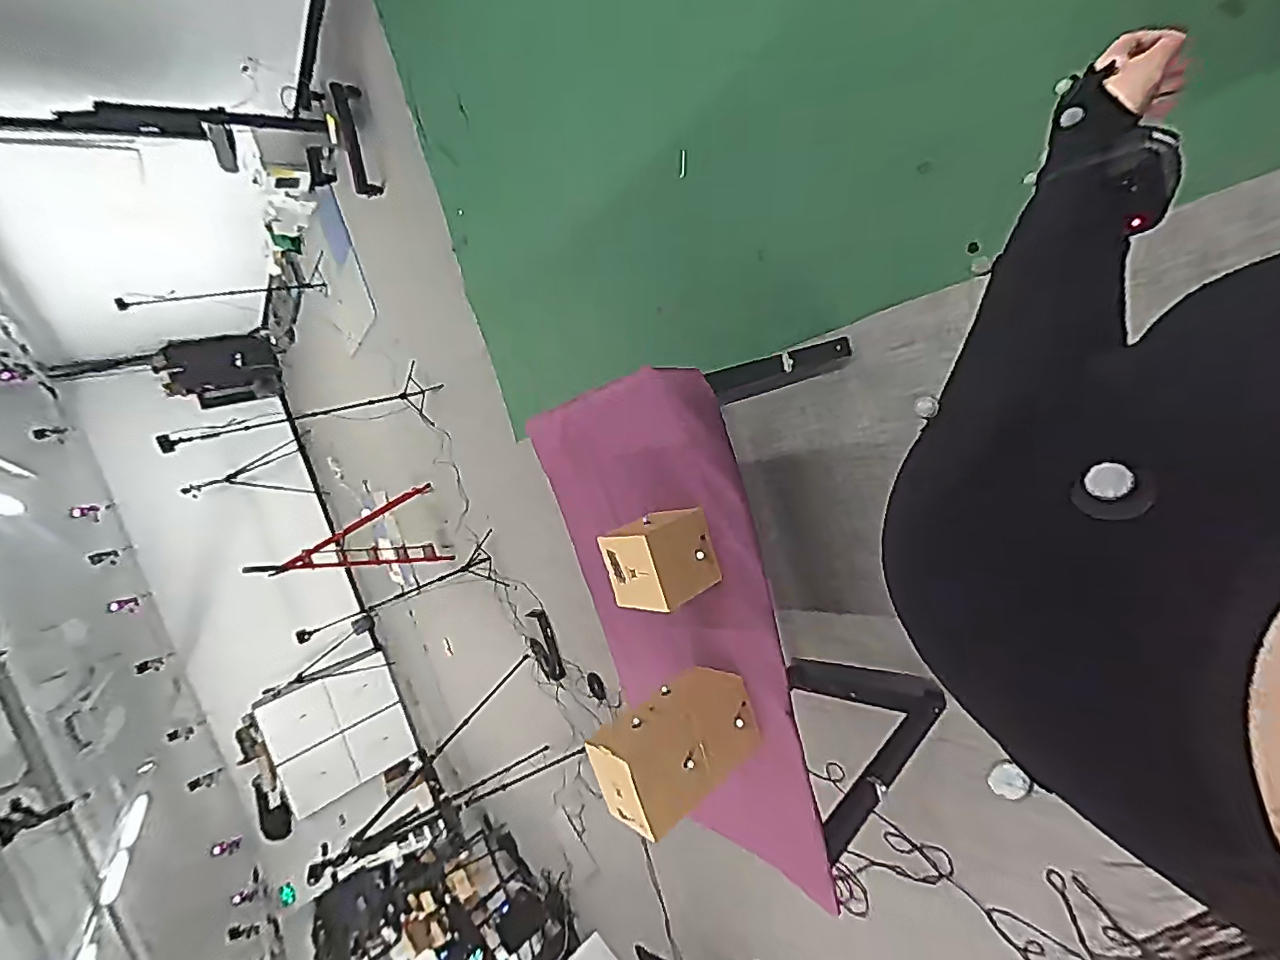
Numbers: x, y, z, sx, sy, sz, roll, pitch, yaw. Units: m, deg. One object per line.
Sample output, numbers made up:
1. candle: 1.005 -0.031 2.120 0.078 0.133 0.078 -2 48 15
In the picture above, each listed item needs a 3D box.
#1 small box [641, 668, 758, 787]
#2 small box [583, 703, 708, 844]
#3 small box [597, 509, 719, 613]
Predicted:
1. small box: 0.135 0.548 1.228 0.179 0.176 0.168 -12 98 54
2. small box: 0.013 0.596 1.129 0.168 0.176 0.179 -13 96 54
3. small box: 0.040 0.168 1.168 0.179 0.176 0.168 -10 99 52
